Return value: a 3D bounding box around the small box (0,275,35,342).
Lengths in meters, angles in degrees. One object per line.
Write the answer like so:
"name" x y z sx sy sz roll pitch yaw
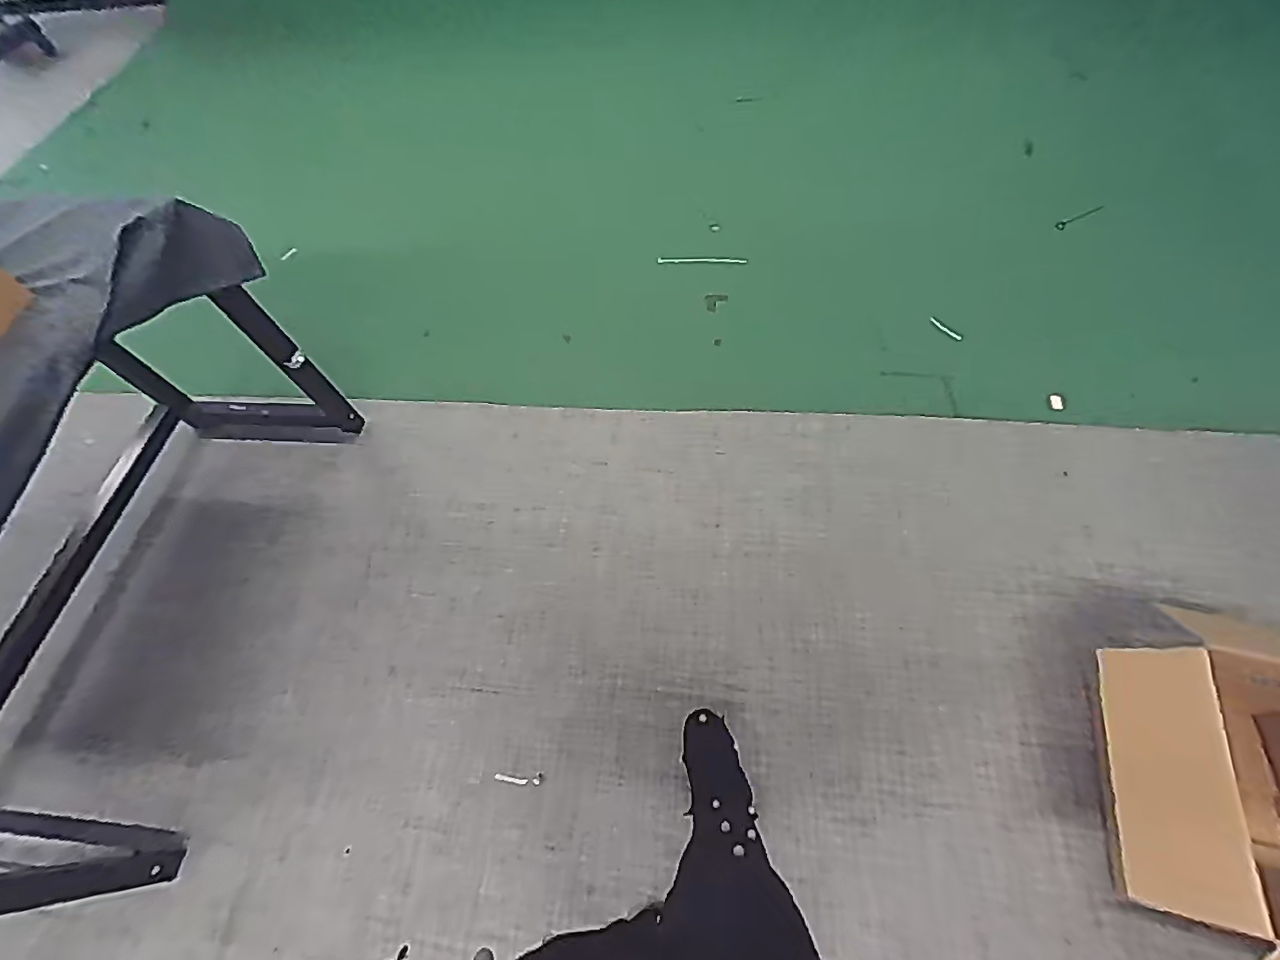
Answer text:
"small box" -1.145 -0.281 0.850 0.168 0.176 0.179 4 61 8
